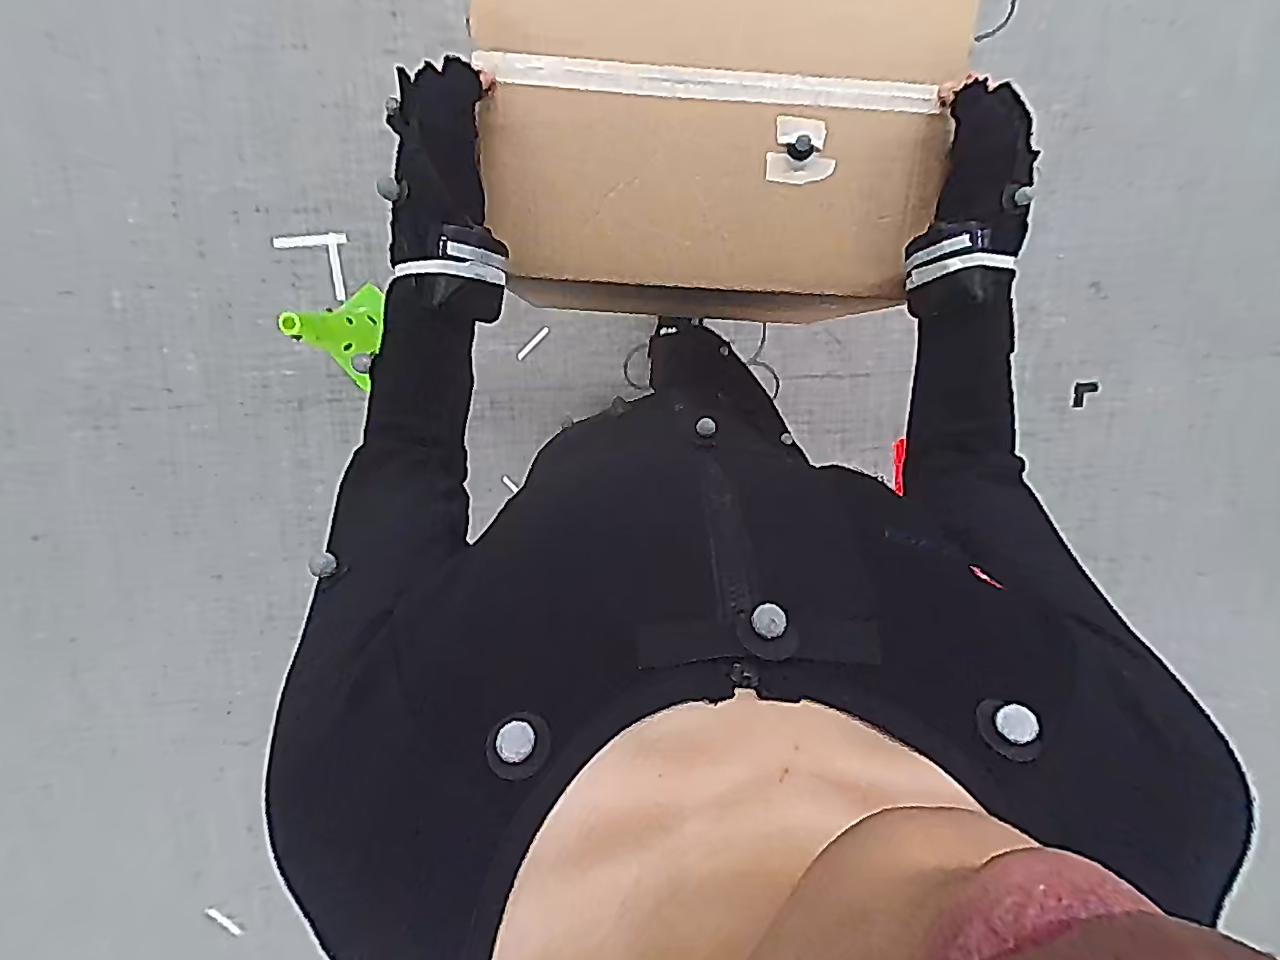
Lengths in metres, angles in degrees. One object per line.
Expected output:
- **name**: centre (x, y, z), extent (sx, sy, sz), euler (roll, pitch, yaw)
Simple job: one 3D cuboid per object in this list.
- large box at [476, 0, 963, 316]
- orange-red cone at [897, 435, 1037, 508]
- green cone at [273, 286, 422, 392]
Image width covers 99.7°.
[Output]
- **large box**: centre (0.056, -0.360, 0.593), extent (0.408, 0.320, 0.320), euler (2, 102, -4)
- **orange-red cone**: centre (0.822, 0.002, 1.332), extent (0.198, 0.360, 0.199), euler (-5, 98, -3)
- **green cone**: centre (-0.674, -0.323, 1.191), extent (0.202, 0.368, 0.200), euler (-39, 99, 5)
